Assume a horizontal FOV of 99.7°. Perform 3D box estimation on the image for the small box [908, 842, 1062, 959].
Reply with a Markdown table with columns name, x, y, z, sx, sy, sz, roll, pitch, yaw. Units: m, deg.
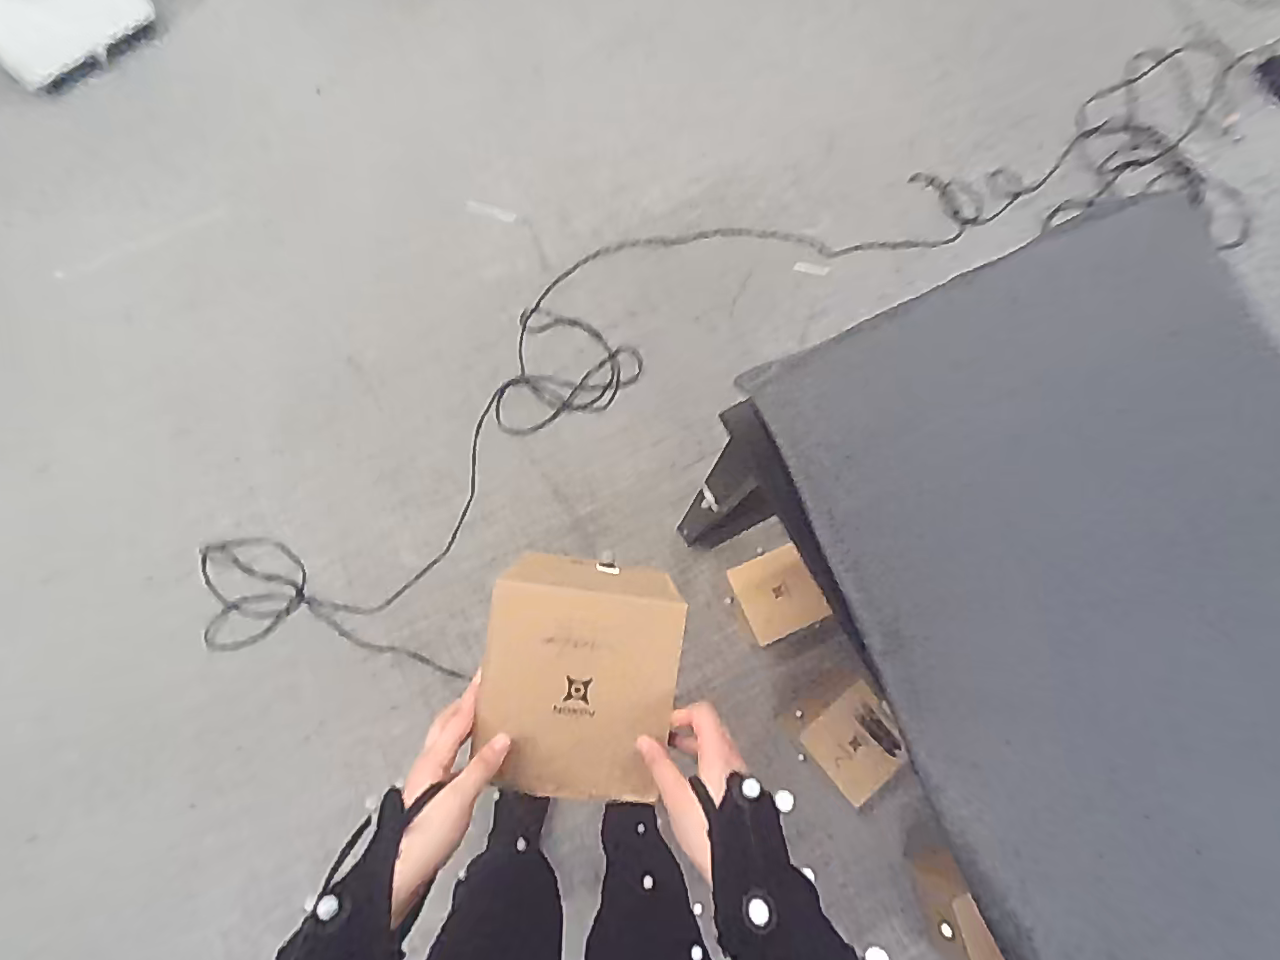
| name | x | y | z | sx | sy | sz | roll | pitch | yaw |
| --- | --- | --- | --- | --- | --- | --- | --- | --- | --- |
| small box | 0.652 | 0.833 | 1.039 | 0.168 | 0.176 | 0.179 | -14 | 78 | -5 |

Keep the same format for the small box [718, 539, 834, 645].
| name | x | y | z | sx | sy | sz | roll | pitch | yaw |
| --- | --- | --- | --- | --- | --- | --- | --- | --- | --- |
| small box | 0.283 | 0.247 | 1.179 | 0.179 | 0.176 | 0.168 | -22 | 77 | -7 |

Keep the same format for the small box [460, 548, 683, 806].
| name | x | y | z | sx | sy | sz | roll | pitch | yaw |
| --- | --- | --- | --- | --- | --- | --- | --- | --- | --- |
| small box | -0.060 | 0.174 | 0.527 | 0.168 | 0.176 | 0.179 | 9 | 91 | -4 |
